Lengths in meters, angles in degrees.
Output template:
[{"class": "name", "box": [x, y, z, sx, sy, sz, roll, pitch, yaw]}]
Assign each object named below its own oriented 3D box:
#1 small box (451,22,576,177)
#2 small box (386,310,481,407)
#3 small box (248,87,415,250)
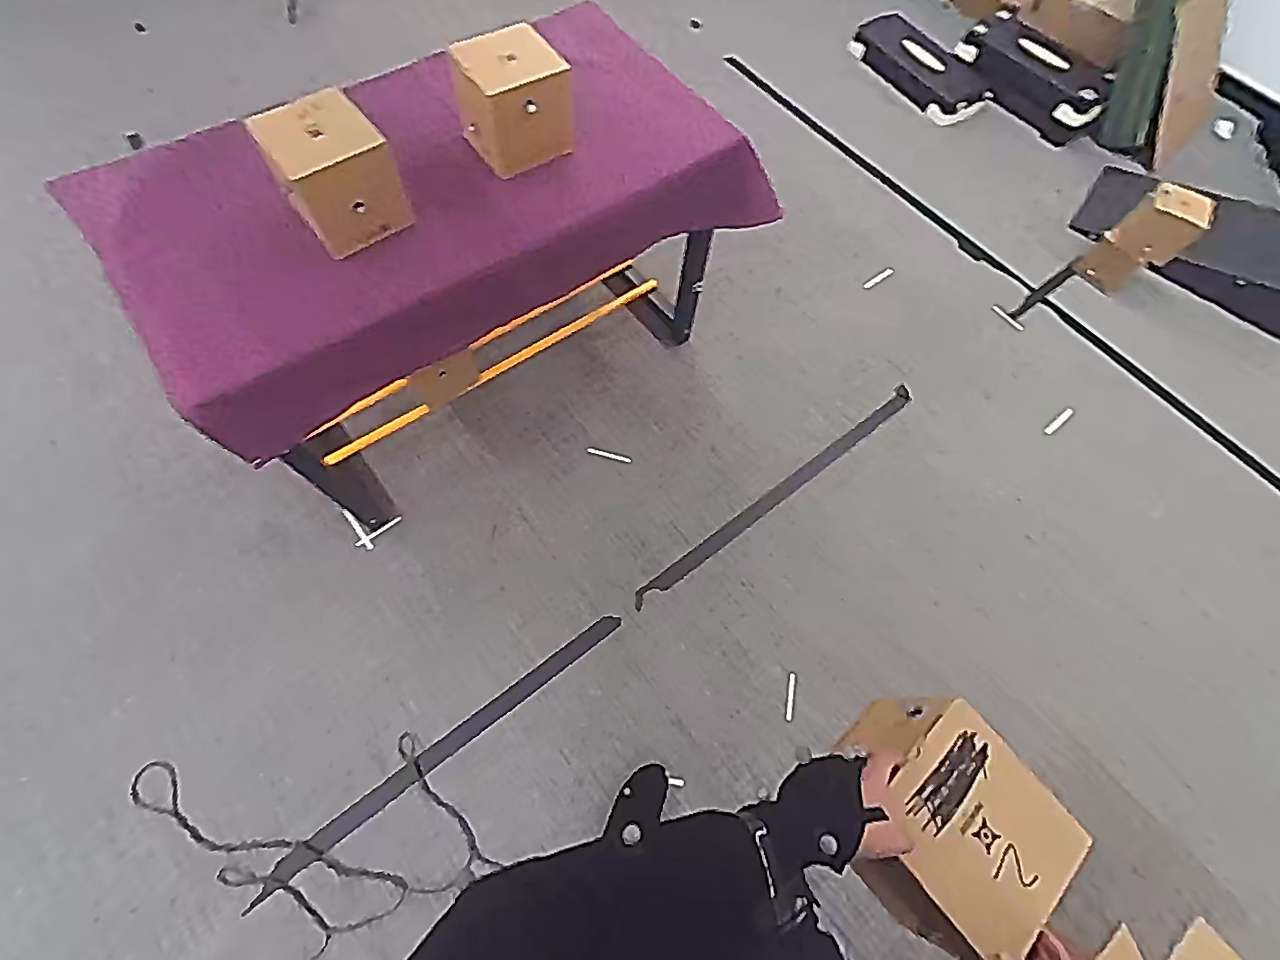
[{"class": "small box", "box": [-0.242, -0.749, 1.073, 0.179, 0.176, 0.168, -32, 73, -15]}, {"class": "small box", "box": [-0.582, -0.340, 1.543, 0.179, 0.176, 0.168, -37, 74, -19]}, {"class": "small box", "box": [-0.534, -0.542, 0.962, 0.168, 0.176, 0.179, -36, 74, -18]}]
